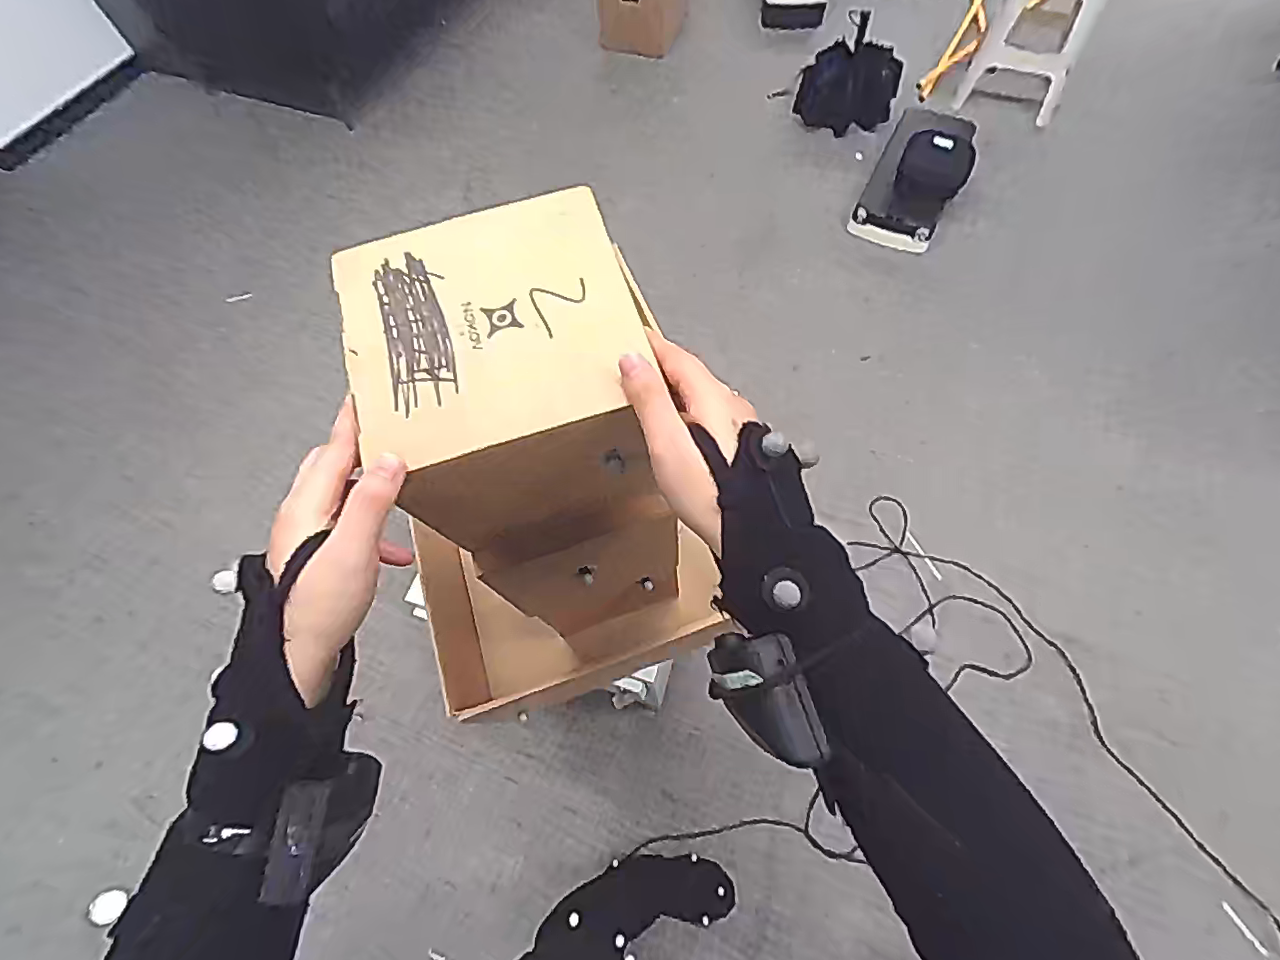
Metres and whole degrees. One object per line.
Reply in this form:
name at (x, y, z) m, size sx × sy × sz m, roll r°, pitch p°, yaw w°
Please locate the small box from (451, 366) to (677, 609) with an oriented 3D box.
small box at (-0.069, 0.017, 0.560) m, size 0.179 × 0.176 × 0.168 m, roll -19°, pitch 64°, yaw -3°
